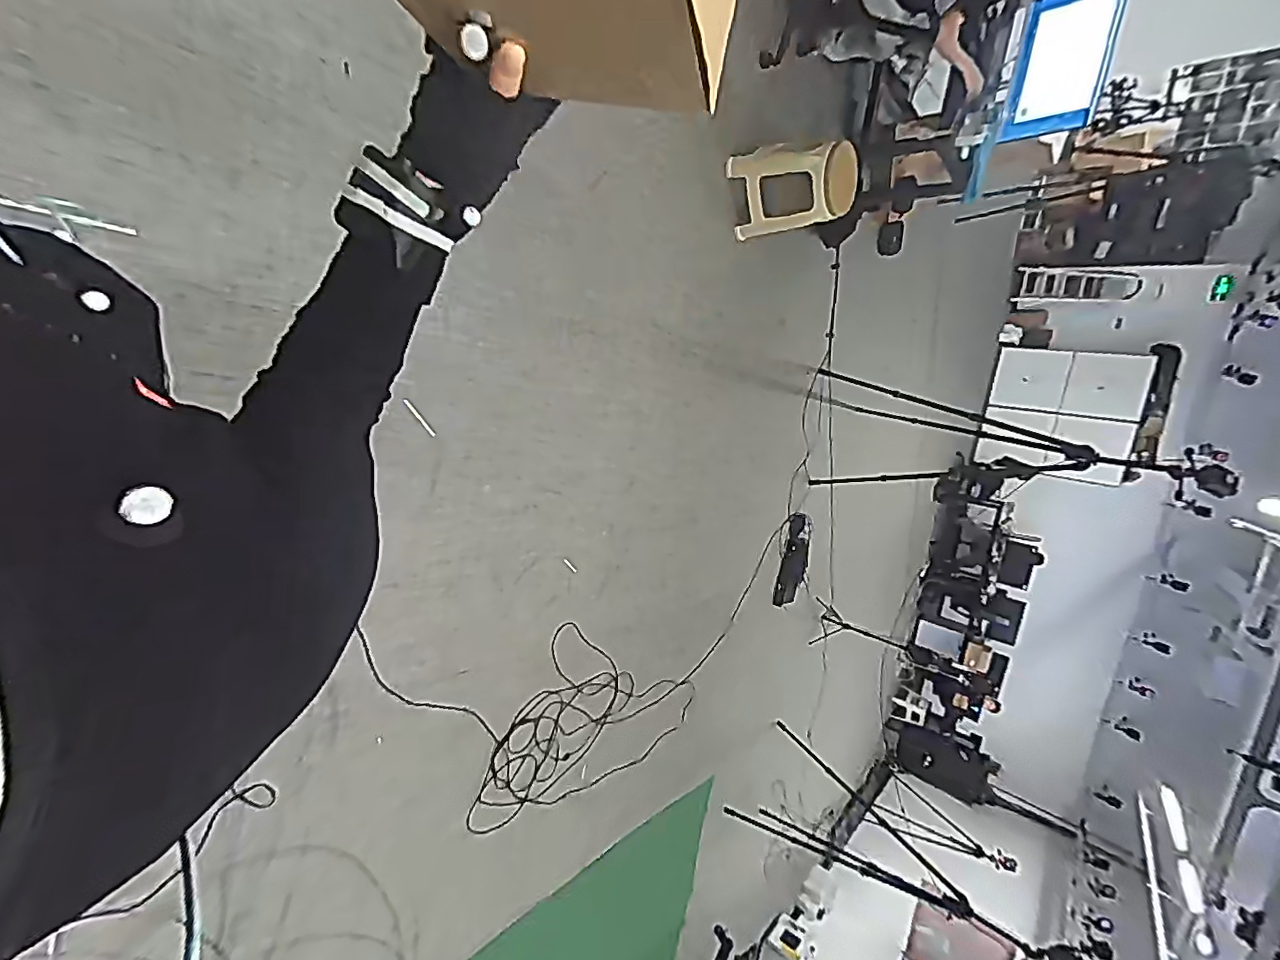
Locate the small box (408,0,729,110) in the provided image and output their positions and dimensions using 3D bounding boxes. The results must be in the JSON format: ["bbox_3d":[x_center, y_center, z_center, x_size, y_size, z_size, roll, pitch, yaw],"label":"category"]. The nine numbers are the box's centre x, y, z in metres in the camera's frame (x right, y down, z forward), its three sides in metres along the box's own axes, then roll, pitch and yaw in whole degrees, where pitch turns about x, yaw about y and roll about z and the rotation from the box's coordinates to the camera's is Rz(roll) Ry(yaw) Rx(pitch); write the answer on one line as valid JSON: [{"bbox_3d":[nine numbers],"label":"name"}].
[{"bbox_3d":[-0.036,-0.318,0.263,0.179,0.176,0.168,-49,152,-73],"label":"small box"}]
